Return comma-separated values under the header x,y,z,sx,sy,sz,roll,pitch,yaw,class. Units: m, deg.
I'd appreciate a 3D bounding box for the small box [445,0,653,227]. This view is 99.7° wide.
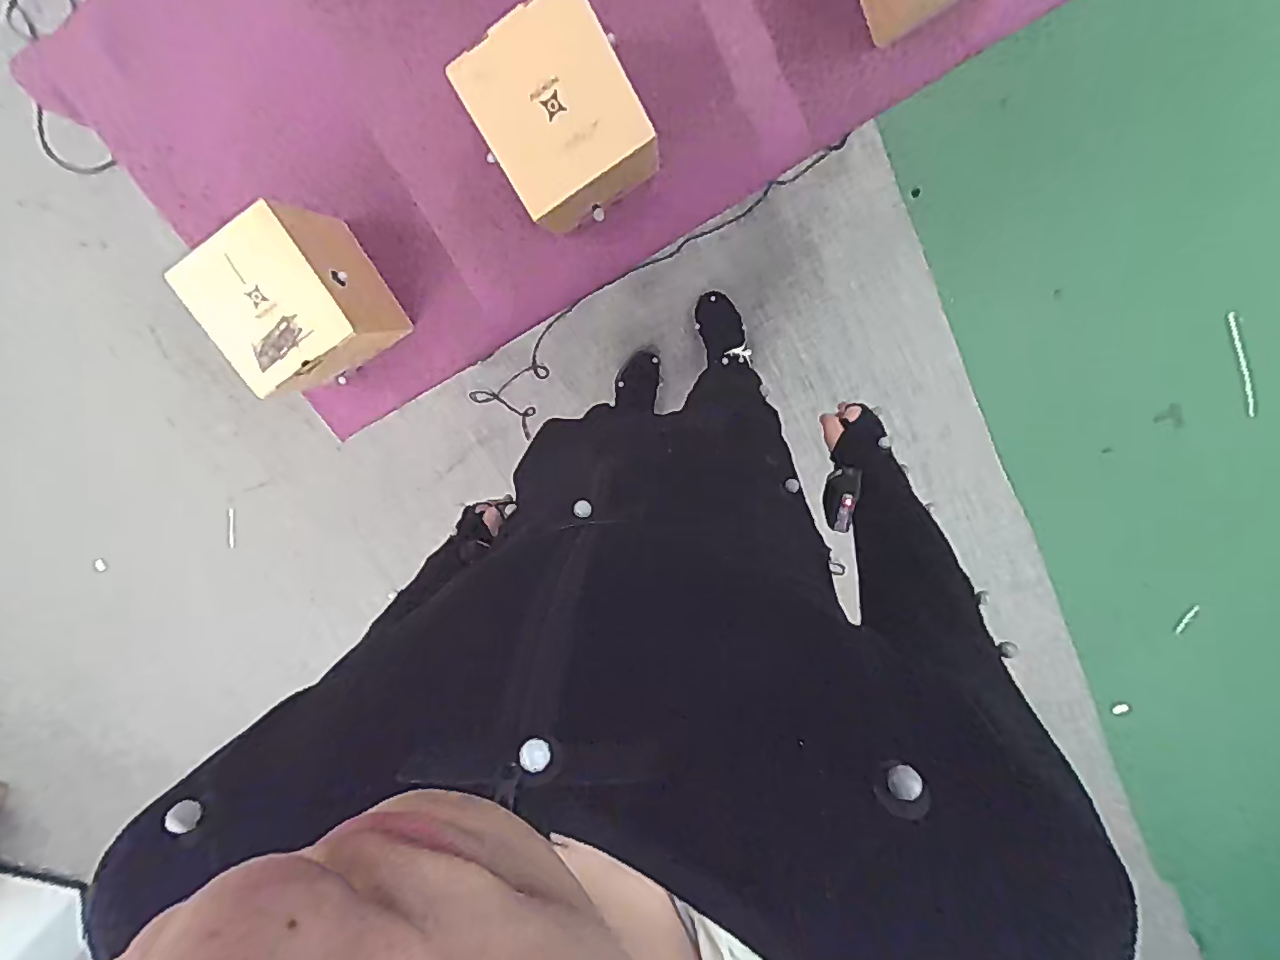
x,y,z,sx,sy,sz,roll,pitch,yaw,class
-0.096,-0.438,0.662,0.168,0.176,0.179,-28,105,13,small box

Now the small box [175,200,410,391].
x,y,z,sx,sy,sz,roll,pitch,yaw,class
-0.458,-0.249,0.747,0.168,0.176,0.179,-28,104,12,small box

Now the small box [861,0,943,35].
x,y,z,sx,sy,sz,roll,pitch,yaw,class
0.320,-0.631,0.566,0.168,0.176,0.179,-27,106,13,small box
